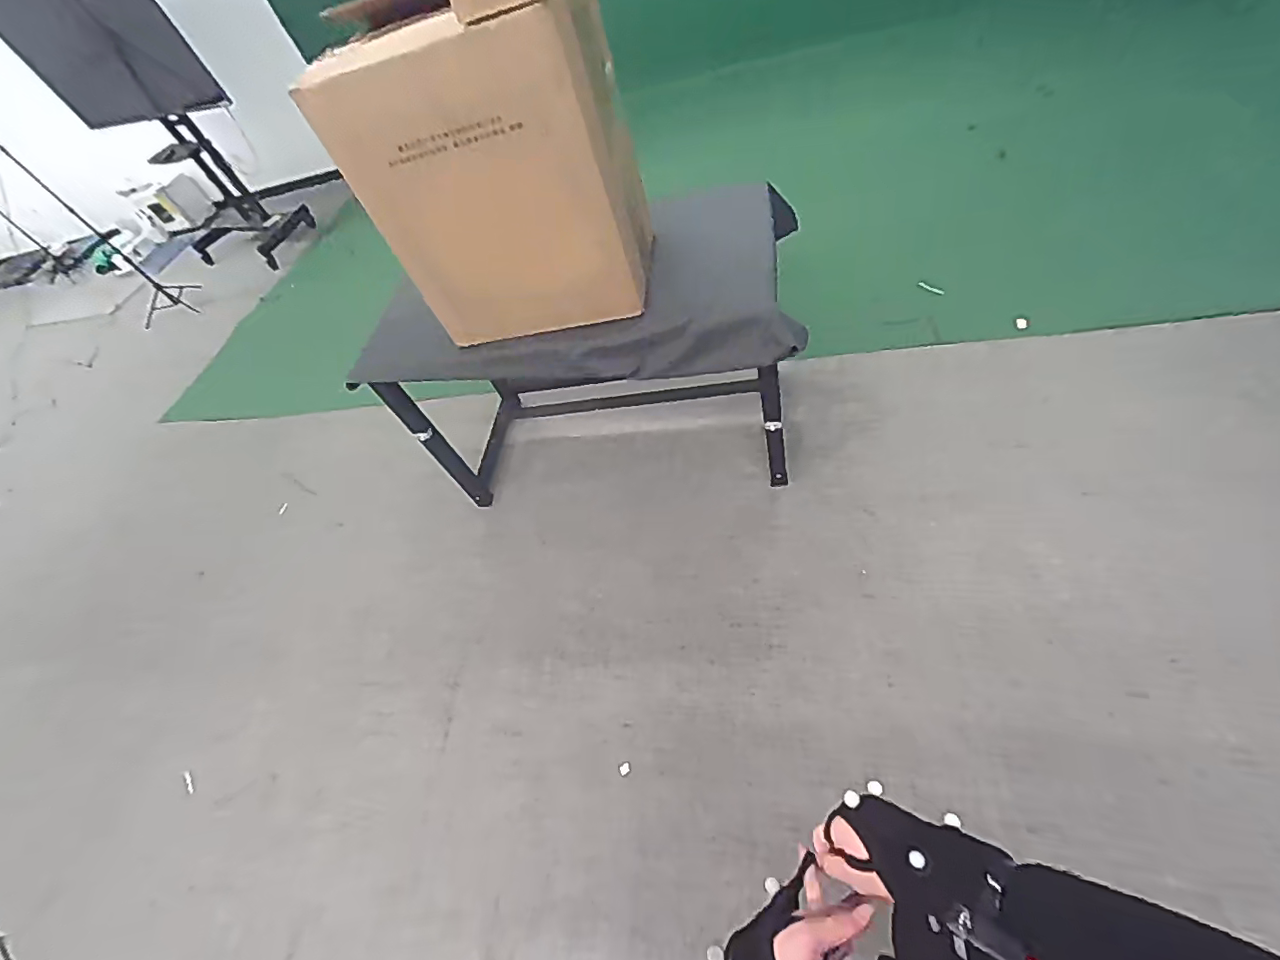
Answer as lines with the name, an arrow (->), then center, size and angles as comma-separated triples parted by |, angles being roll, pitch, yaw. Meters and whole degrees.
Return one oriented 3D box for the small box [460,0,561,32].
small box -> -0.225, -0.882, 0.891 | 0.168, 0.176, 0.179 | -5, 54, 14
